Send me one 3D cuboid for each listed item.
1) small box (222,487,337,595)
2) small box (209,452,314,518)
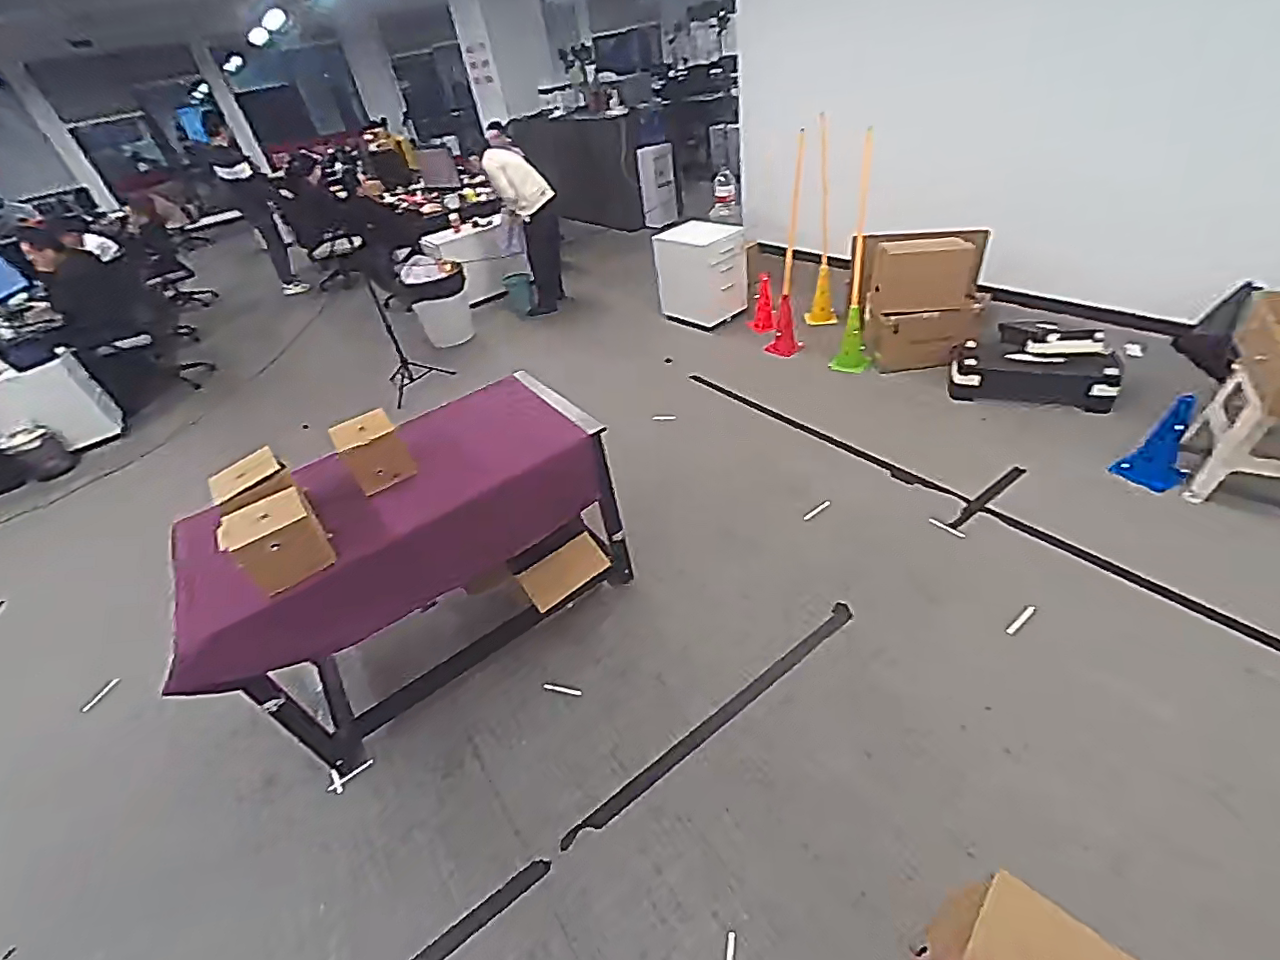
[{"bbox_3d":[-0.908,0.156,1.367,0.179,0.176,0.168,-31,43,-24],"label":"small box"},{"bbox_3d":[-1.064,0.056,1.524,0.179,0.176,0.168,-32,44,-25],"label":"small box"}]
